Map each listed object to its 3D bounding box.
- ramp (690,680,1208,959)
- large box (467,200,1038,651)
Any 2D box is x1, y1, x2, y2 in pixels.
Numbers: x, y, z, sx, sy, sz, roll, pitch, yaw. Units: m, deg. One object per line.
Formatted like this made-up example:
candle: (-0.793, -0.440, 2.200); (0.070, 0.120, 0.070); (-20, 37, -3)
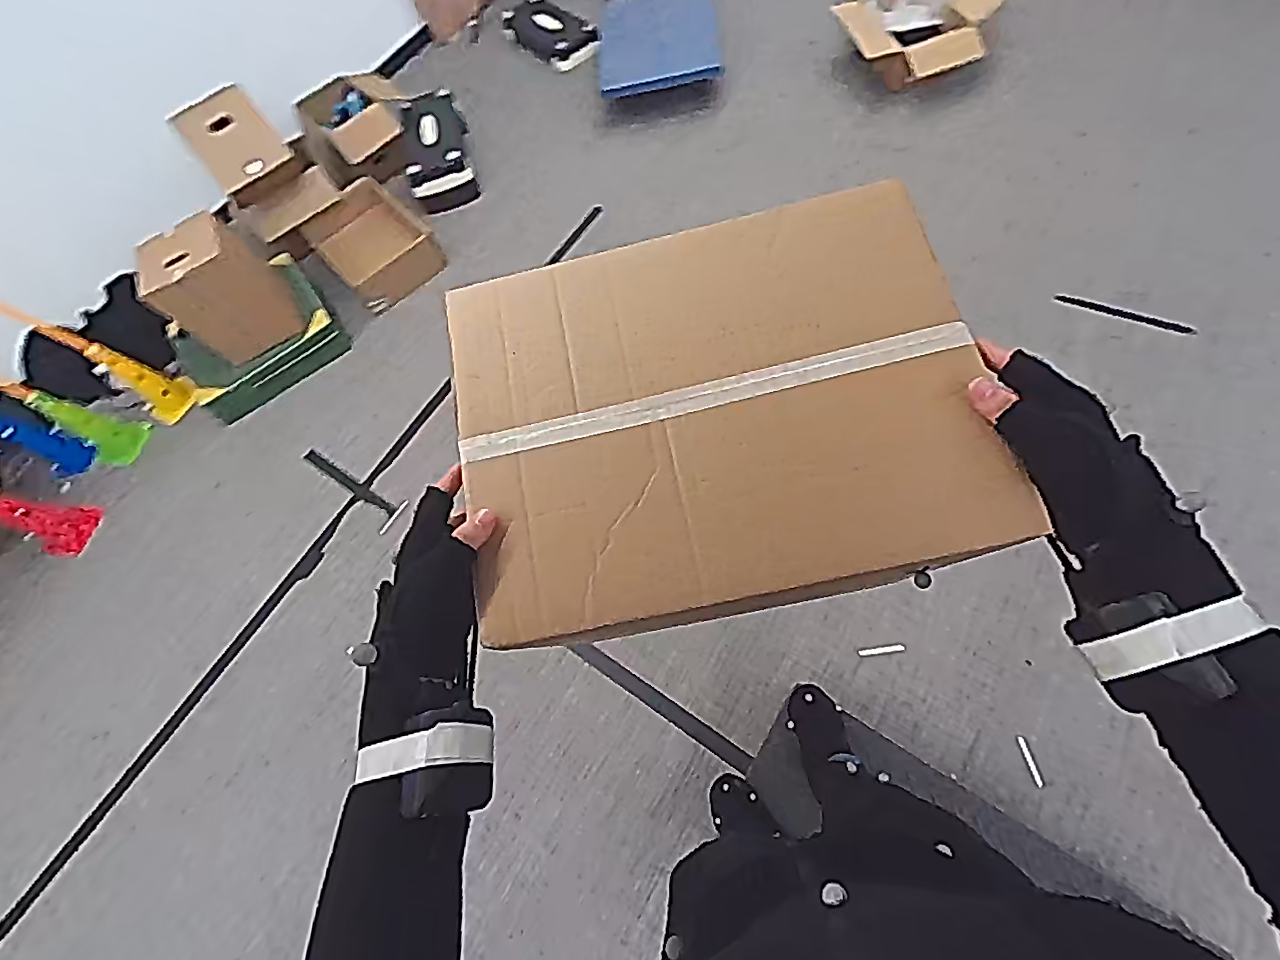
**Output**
ramp: (0.651, 0.924, 1.164); (0.991, 0.206, 0.509); (26, 71, 20)
large box: (0.082, -0.019, 0.576); (0.408, 0.320, 0.320); (-12, 73, 4)
